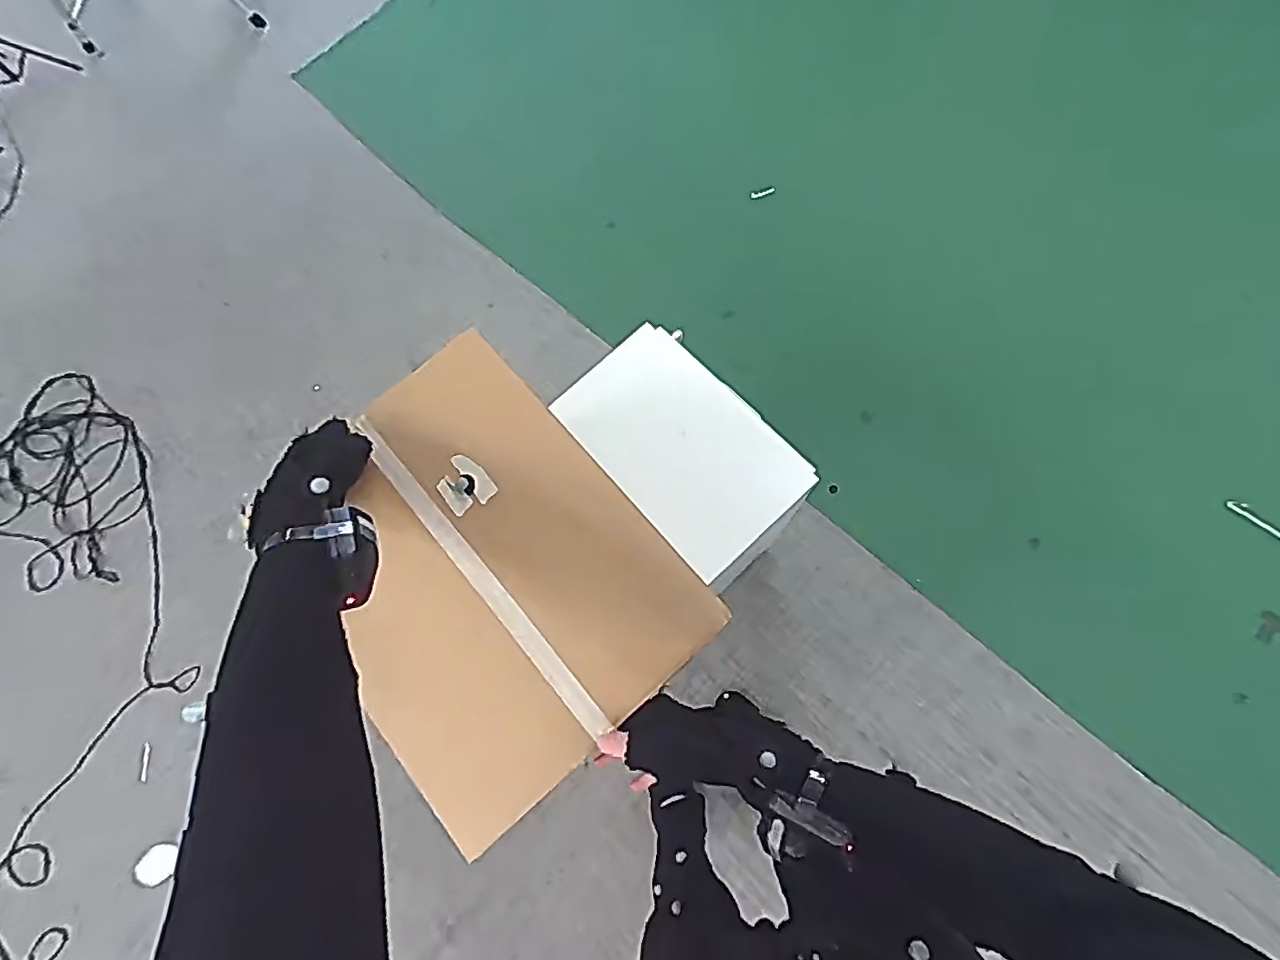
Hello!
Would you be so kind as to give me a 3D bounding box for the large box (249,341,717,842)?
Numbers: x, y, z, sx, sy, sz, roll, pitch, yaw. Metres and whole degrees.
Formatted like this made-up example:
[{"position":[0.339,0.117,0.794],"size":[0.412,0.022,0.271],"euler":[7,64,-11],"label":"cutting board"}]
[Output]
[{"position":[-0.152,0.119,0.676],"size":[0.320,0.320,0.408],"euler":[-42,76,-6],"label":"large box"}]
